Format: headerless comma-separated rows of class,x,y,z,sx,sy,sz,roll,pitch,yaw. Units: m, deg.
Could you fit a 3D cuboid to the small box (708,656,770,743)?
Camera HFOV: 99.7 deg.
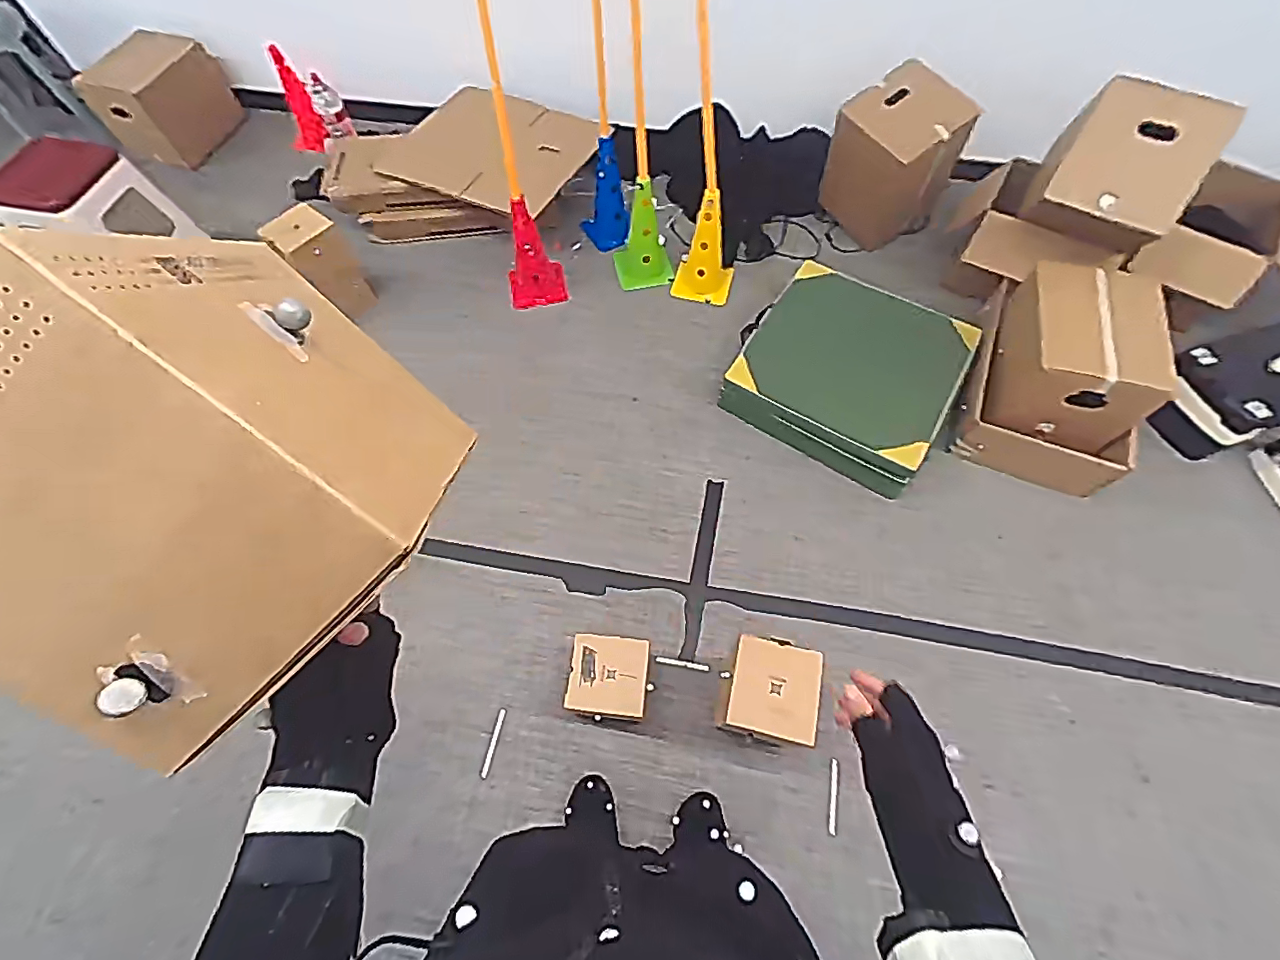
small box,0.269,0.510,1.268,0.179,0.176,0.168,14,63,6

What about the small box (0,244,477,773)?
small box,-0.223,0.005,0.292,0.179,0.168,0.176,-42,110,10

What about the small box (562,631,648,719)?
small box,-0.076,0.471,1.290,0.179,0.176,0.168,6,63,3

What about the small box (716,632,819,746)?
small box,0.258,0.438,1.122,0.168,0.176,0.179,13,65,8
